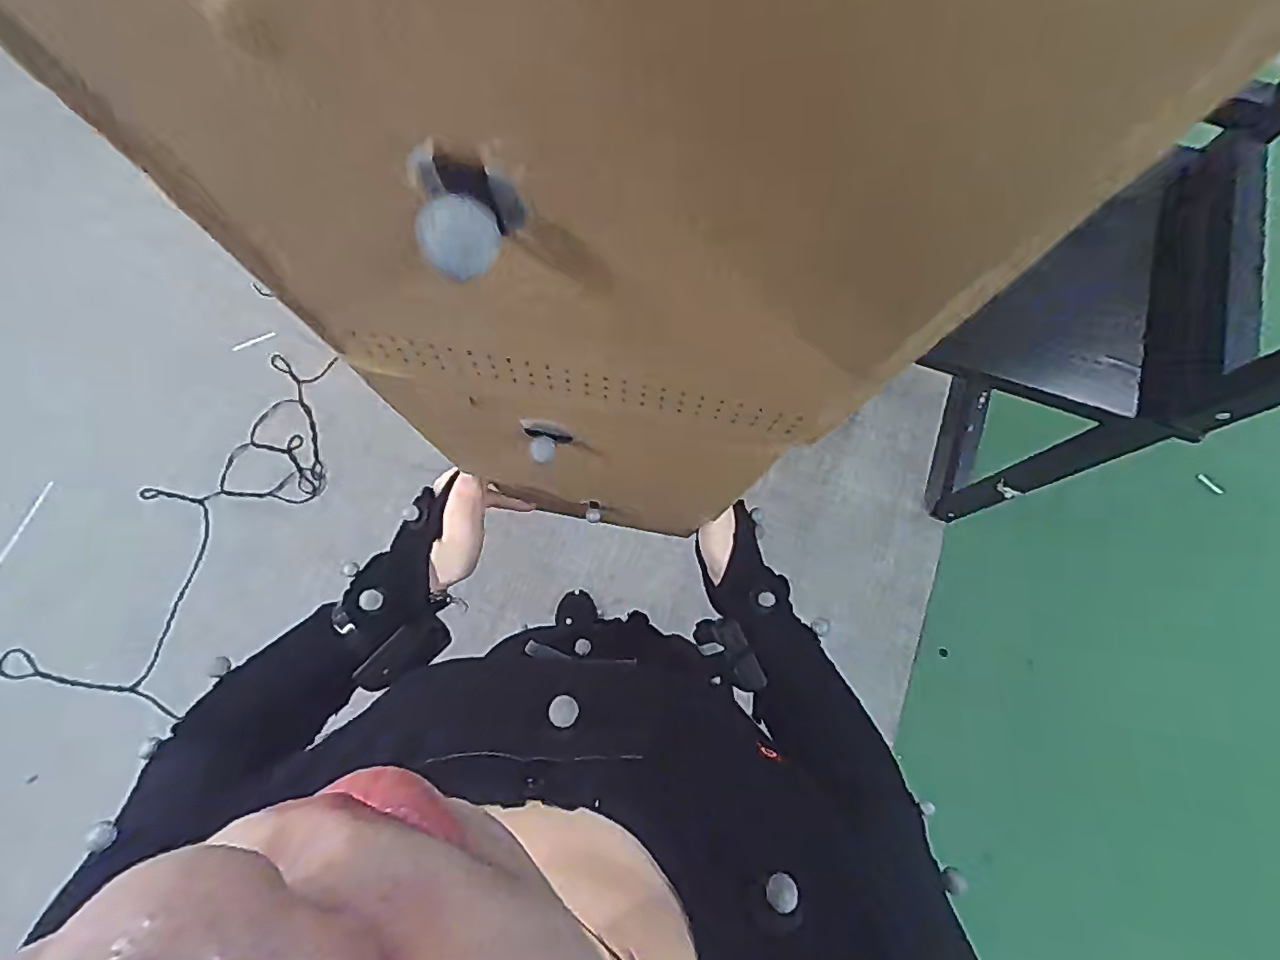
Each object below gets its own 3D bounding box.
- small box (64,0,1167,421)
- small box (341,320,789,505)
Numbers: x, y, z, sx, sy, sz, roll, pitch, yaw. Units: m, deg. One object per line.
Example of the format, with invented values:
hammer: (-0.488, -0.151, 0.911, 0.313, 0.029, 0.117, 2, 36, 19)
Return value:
small box: (-0.005, -0.127, 0.141, 0.179, 0.176, 0.168, 10, 76, 0)
small box: (-0.018, -0.090, 0.300, 0.179, 0.176, 0.168, 11, 76, -1)
